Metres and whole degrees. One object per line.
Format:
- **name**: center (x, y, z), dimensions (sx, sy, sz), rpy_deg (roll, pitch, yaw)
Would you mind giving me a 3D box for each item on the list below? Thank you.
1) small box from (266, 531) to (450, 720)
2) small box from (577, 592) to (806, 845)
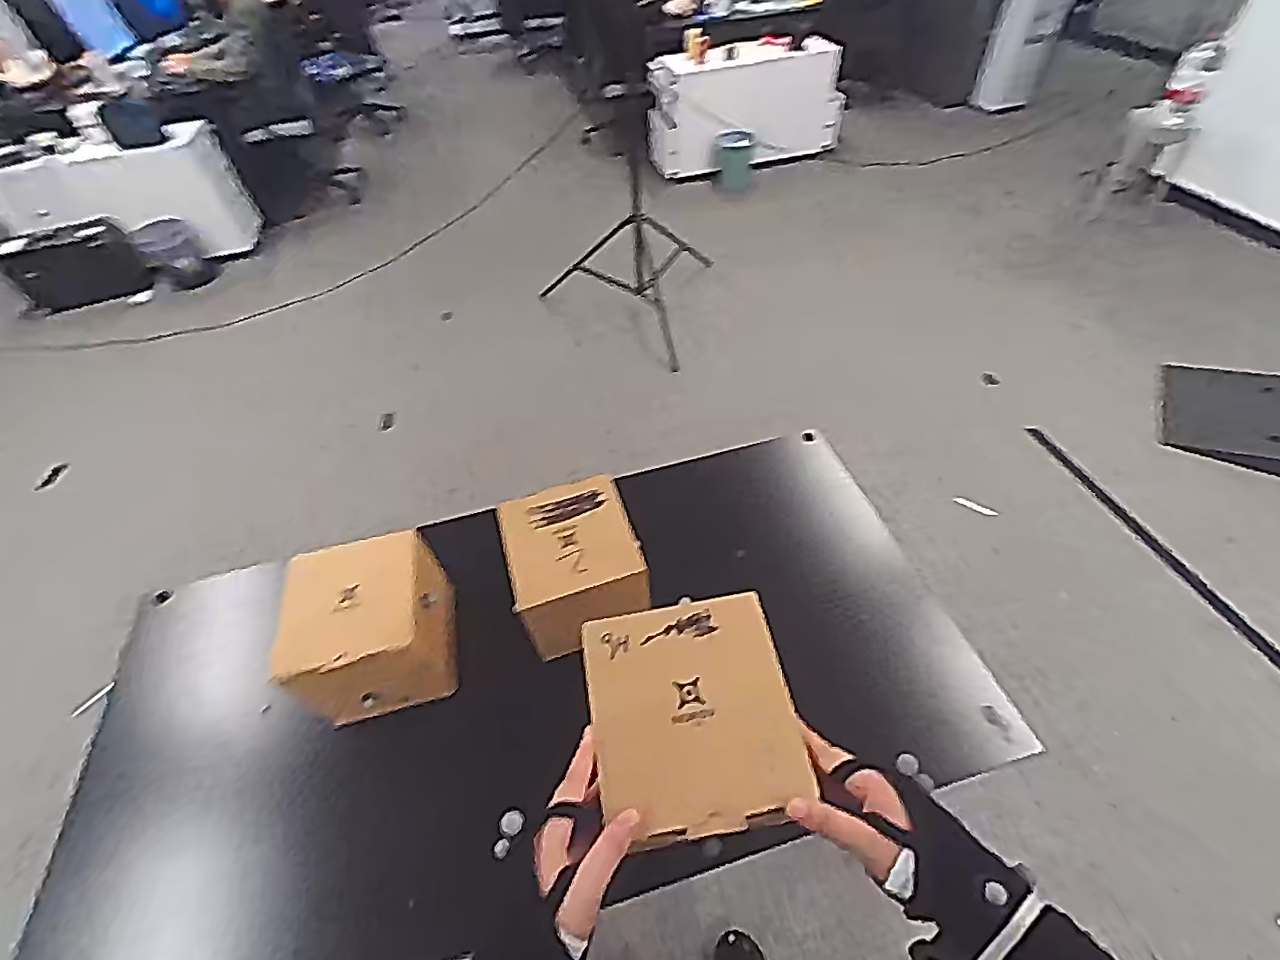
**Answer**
- **small box**: center (-0.371, 0.202, 0.748), dimensions (0.168, 0.176, 0.179), rpy_deg (-13, 51, -7)
- **small box**: center (0.039, 0.231, 0.518), dimensions (0.168, 0.176, 0.179), rpy_deg (-9, 55, -3)
